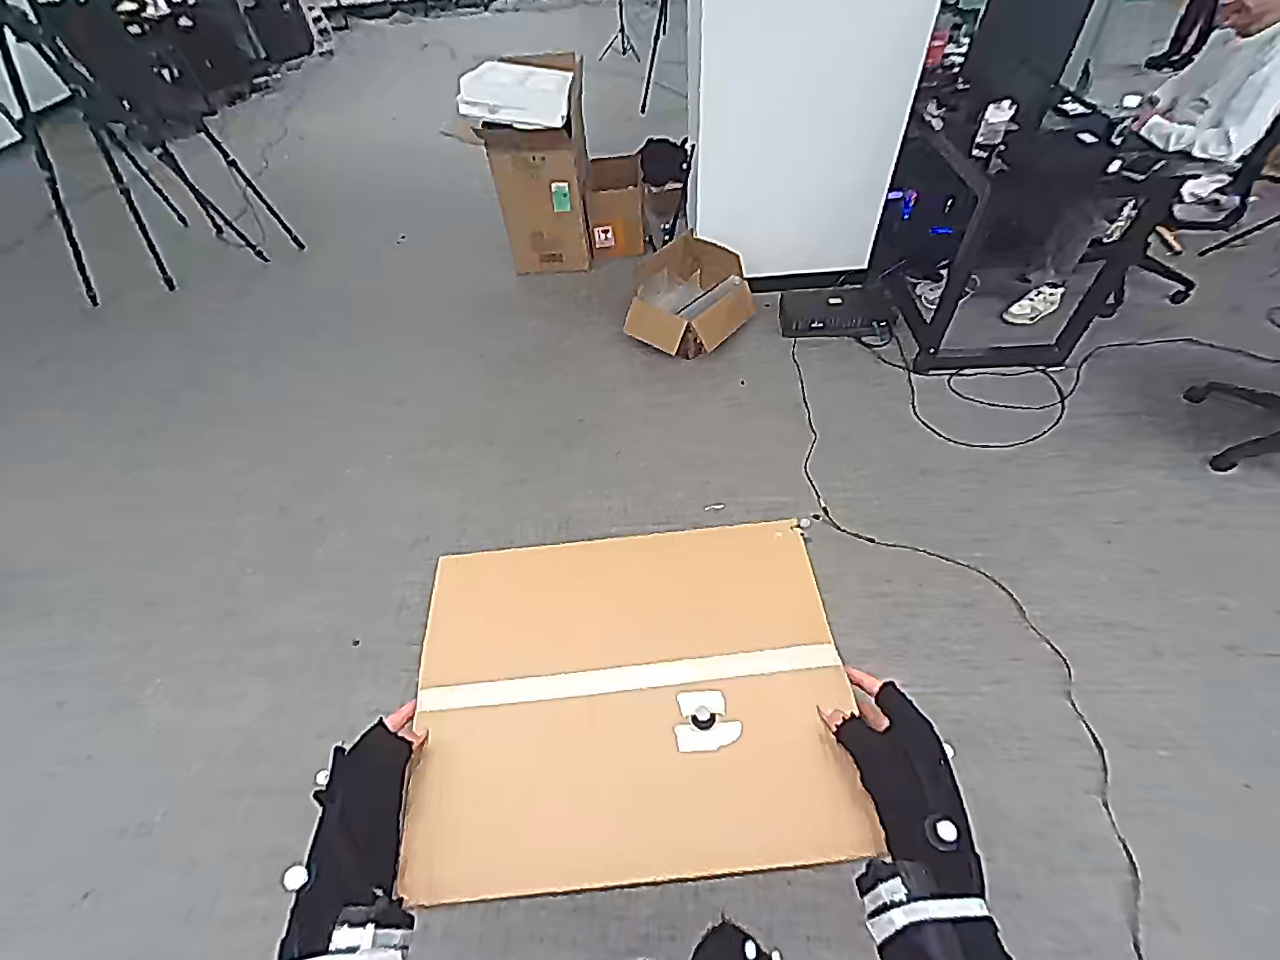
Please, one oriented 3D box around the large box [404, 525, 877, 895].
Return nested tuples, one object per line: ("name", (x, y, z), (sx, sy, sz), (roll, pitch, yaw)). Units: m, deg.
("large box", (-0.004, 0.283, 0.651), (0.408, 0.320, 0.320), (-6, 54, 0))
